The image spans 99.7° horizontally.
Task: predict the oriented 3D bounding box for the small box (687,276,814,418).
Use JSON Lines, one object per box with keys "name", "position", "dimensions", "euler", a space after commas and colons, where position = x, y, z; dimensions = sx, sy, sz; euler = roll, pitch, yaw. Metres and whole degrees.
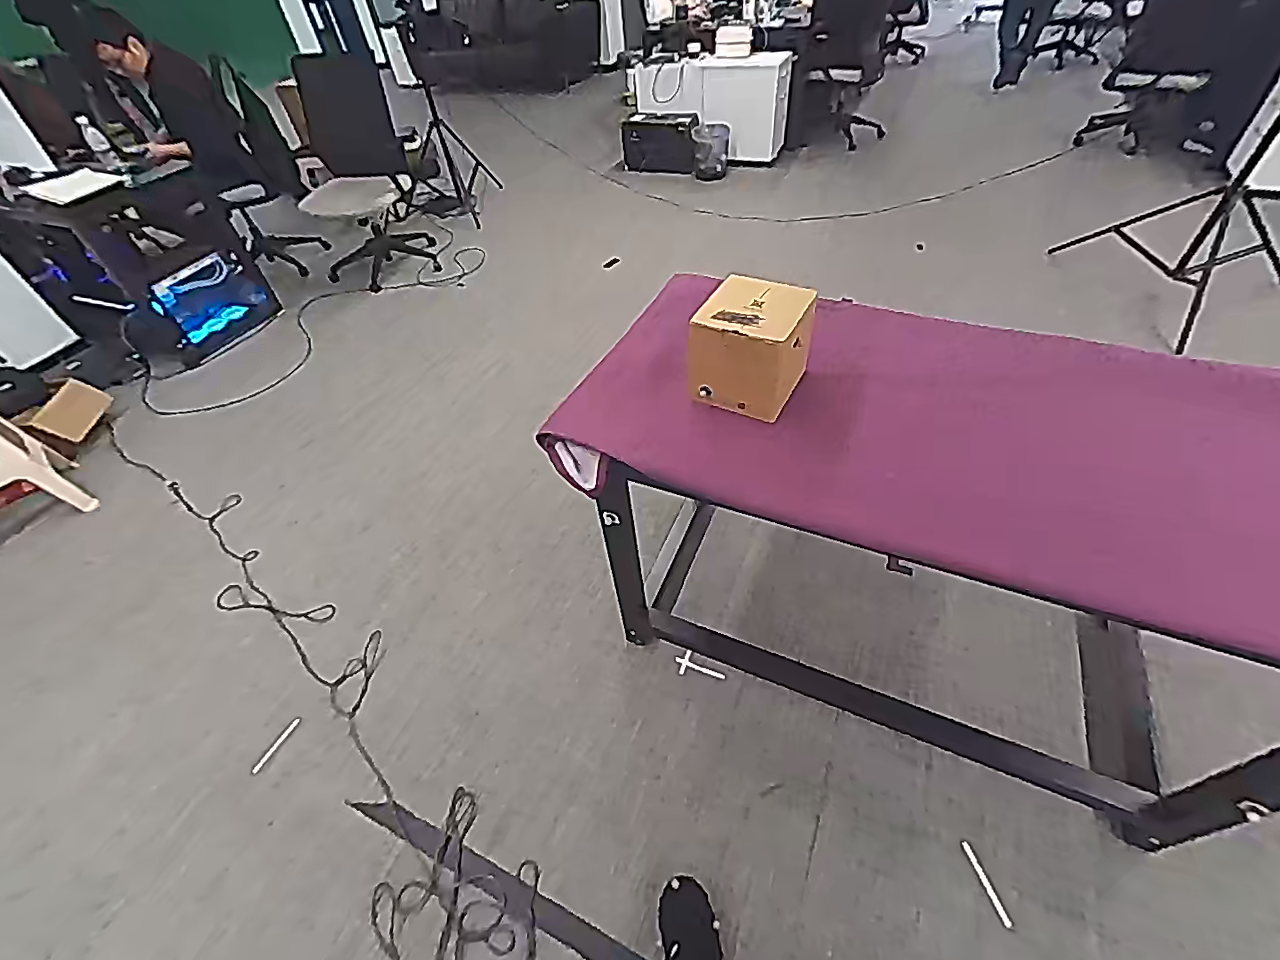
{"name": "small box", "position": [0.198, -0.238, 0.976], "dimensions": [0.168, 0.176, 0.179], "euler": [21, 53, 23]}
